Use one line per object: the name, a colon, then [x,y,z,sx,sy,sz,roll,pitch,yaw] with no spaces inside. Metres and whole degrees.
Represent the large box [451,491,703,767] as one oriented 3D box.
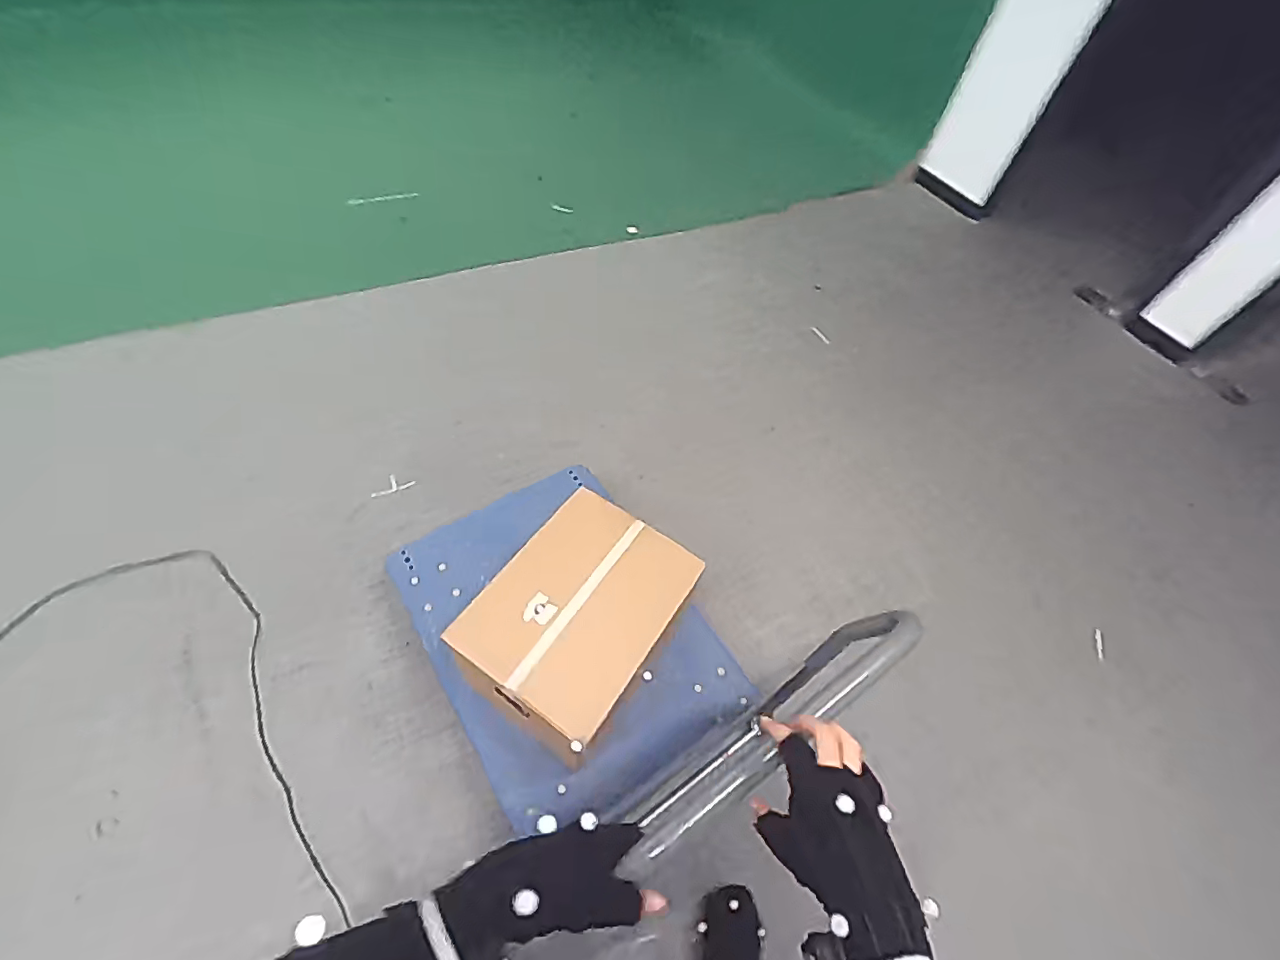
large box: [-0.117,0.309,1.133,0.320,0.320,0.408,30,58,15]
